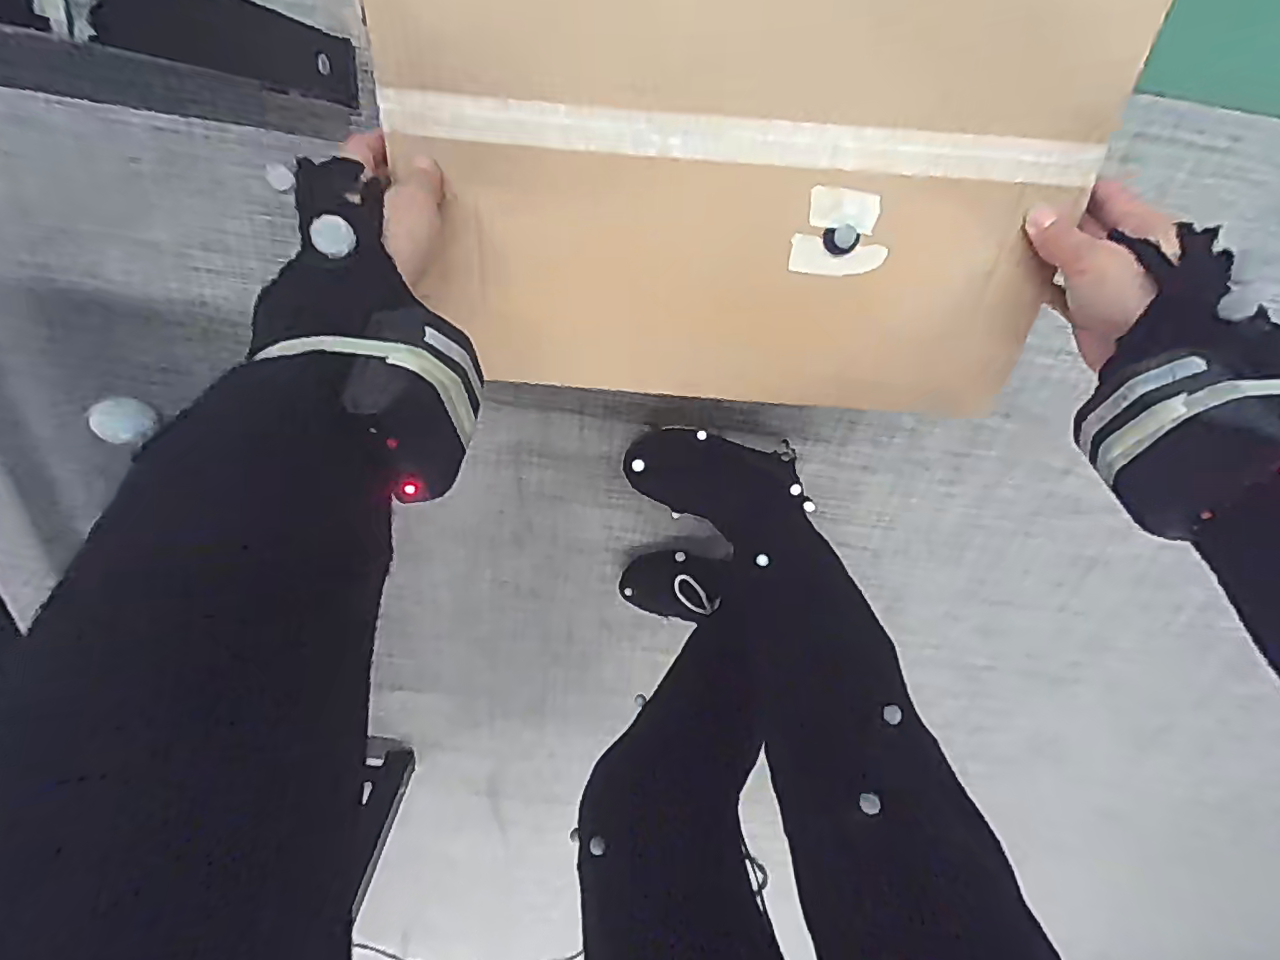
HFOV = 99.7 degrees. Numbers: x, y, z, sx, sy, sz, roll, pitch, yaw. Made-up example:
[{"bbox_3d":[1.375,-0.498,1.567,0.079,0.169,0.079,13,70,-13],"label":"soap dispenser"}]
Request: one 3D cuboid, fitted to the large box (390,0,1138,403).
[{"bbox_3d":[0.061,-0.270,0.451,0.408,0.320,0.320,3,120,-1],"label":"large box"}]
